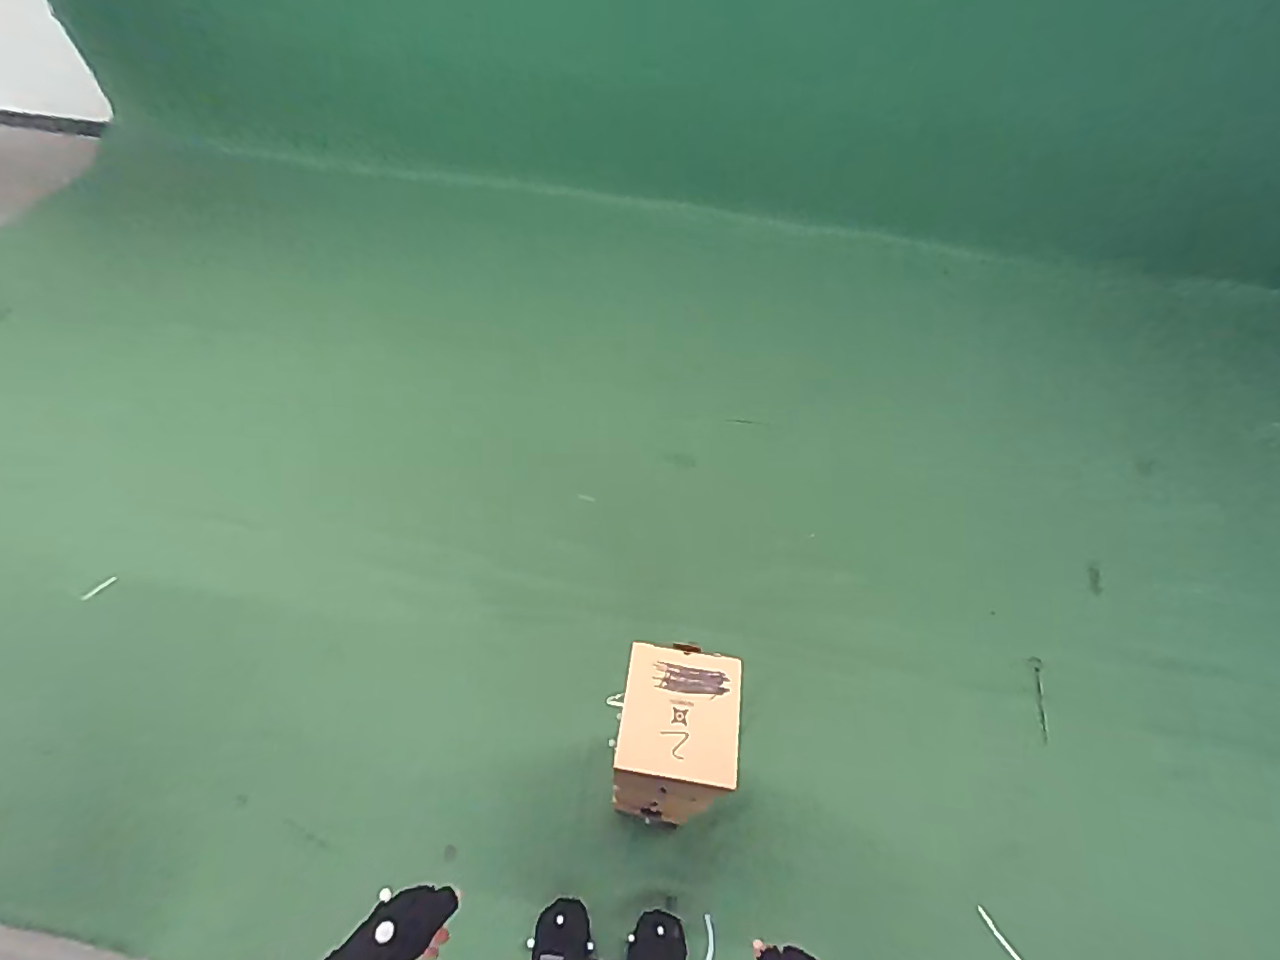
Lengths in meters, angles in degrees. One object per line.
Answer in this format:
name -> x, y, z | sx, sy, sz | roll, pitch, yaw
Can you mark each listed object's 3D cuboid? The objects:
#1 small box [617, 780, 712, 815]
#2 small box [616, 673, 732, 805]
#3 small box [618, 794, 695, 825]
small box -> 0.056, 0.558, 1.087 | 0.179, 0.176, 0.168 | 12, 53, 6
small box -> 0.057, 0.463, 0.958 | 0.179, 0.176, 0.168 | 9, 54, 4
small box -> 0.045, 0.657, 1.220 | 0.168, 0.176, 0.179 | 9, 55, 5
